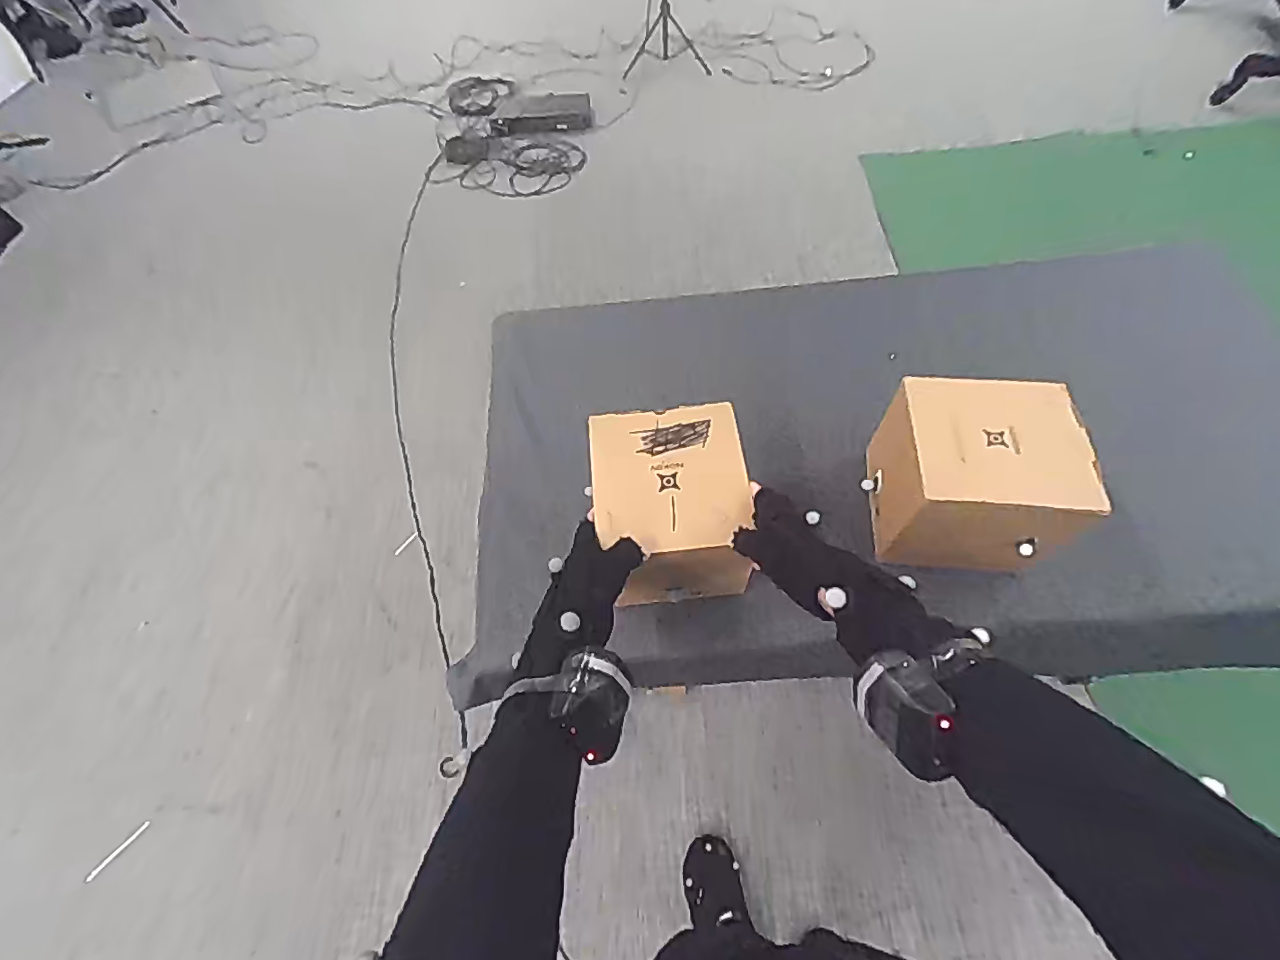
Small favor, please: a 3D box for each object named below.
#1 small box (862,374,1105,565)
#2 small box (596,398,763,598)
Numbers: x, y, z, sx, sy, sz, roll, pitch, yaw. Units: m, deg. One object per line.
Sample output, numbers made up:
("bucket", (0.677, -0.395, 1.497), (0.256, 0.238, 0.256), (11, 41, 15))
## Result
("small box", (0.387, -0.006, 0.648), (0.179, 0.176, 0.168), (3, 59, 6))
("small box", (0.039, 0.026, 0.647), (0.168, 0.176, 0.179), (-6, 61, 0))
